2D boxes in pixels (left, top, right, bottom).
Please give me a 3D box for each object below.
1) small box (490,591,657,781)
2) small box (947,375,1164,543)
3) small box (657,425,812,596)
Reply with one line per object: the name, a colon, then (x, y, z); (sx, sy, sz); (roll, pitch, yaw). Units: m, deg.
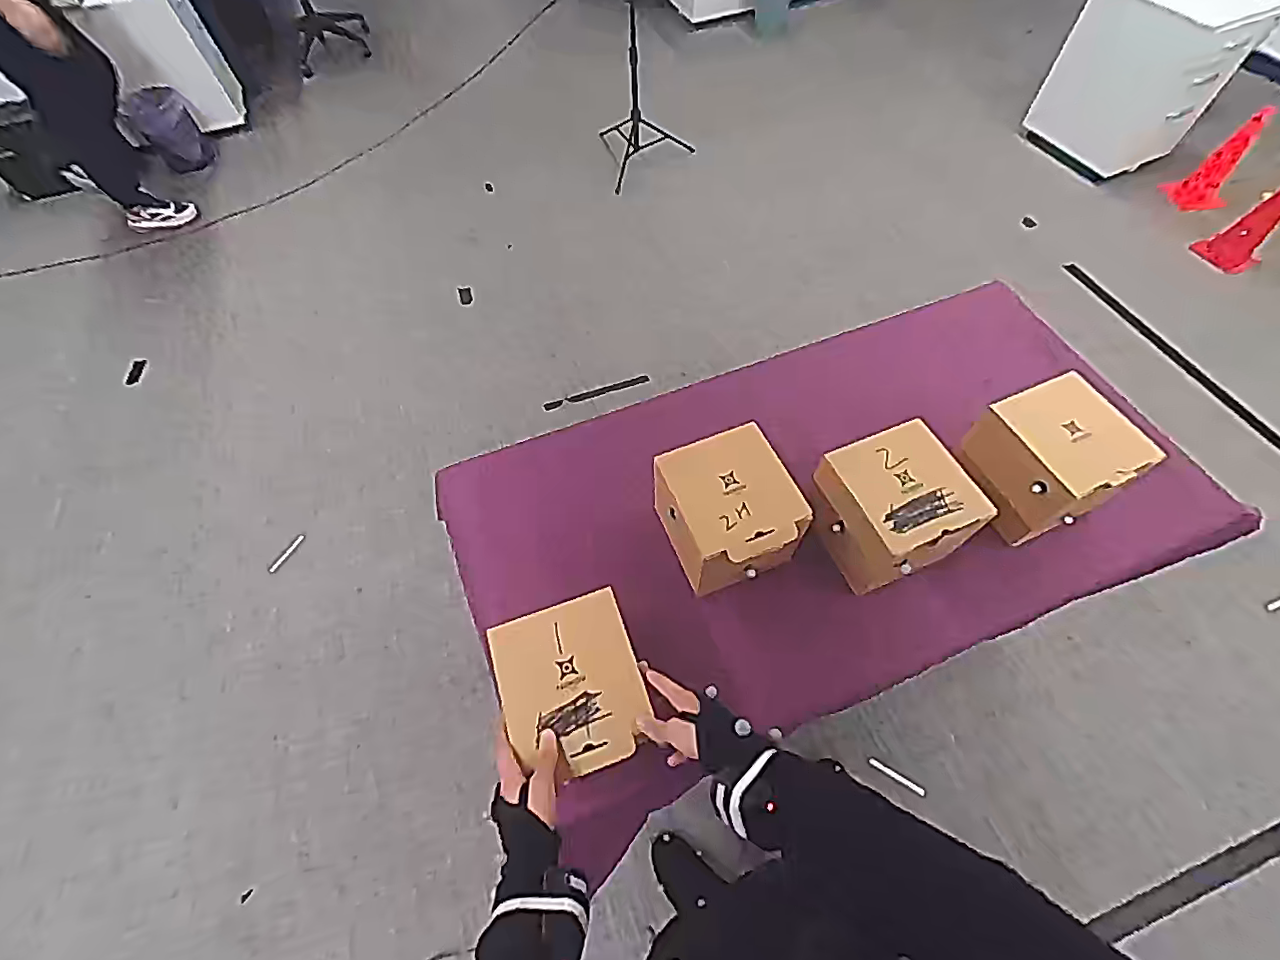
small box: (-0.080, 0.275, 0.711); (0.168, 0.176, 0.179); (-18, 60, -9)
small box: (0.634, -0.029, 0.855); (0.168, 0.176, 0.179); (-22, 62, -9)
small box: (0.132, 0.051, 0.830); (0.168, 0.176, 0.179); (-20, 61, -8)
